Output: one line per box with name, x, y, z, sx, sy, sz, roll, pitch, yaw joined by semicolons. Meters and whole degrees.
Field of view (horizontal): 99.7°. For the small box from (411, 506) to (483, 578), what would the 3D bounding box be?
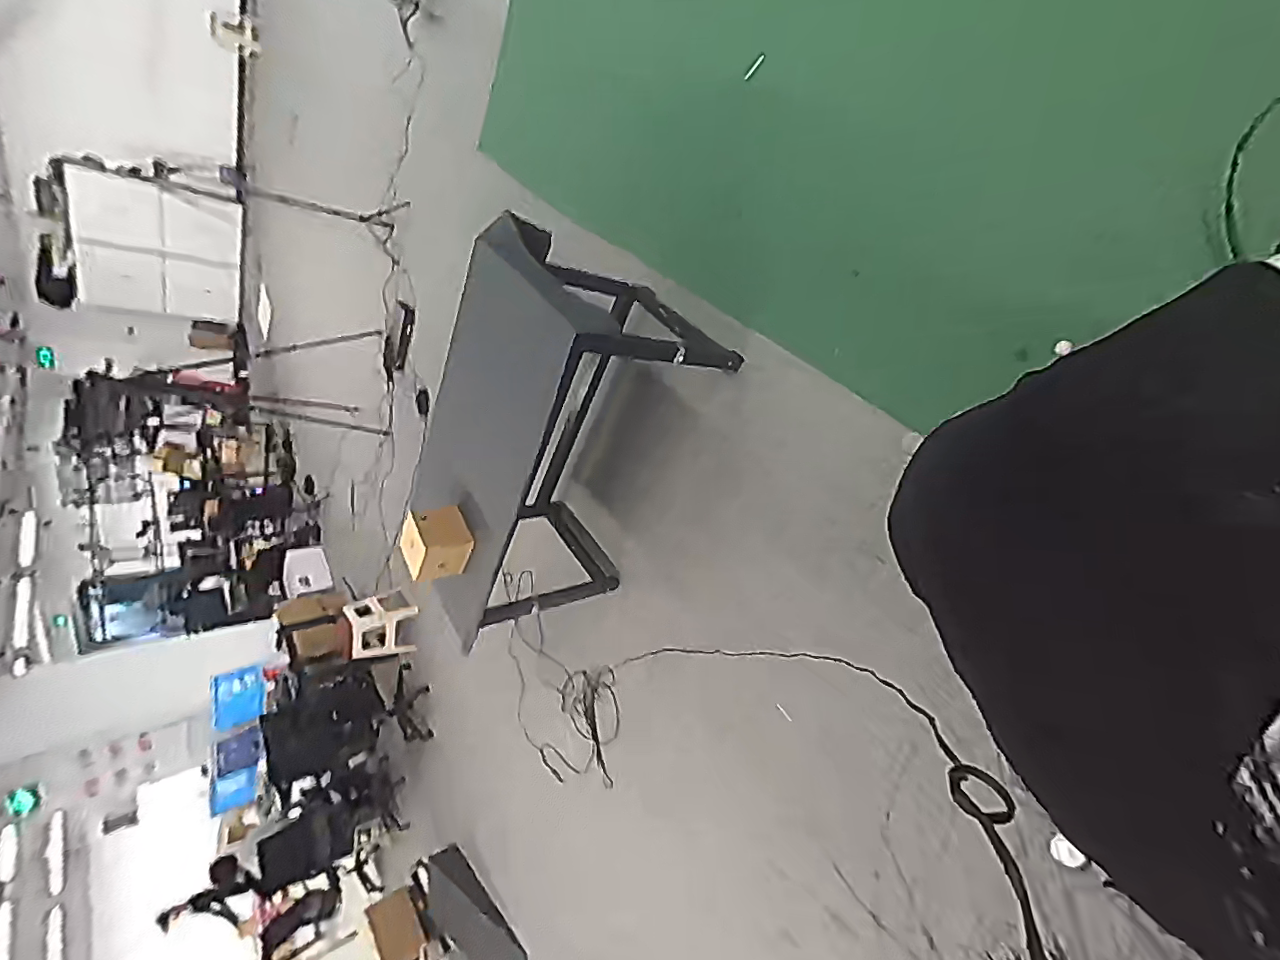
small box;-0.648;0.200;1.818;0.179;0.176;0.168;53;129;31
